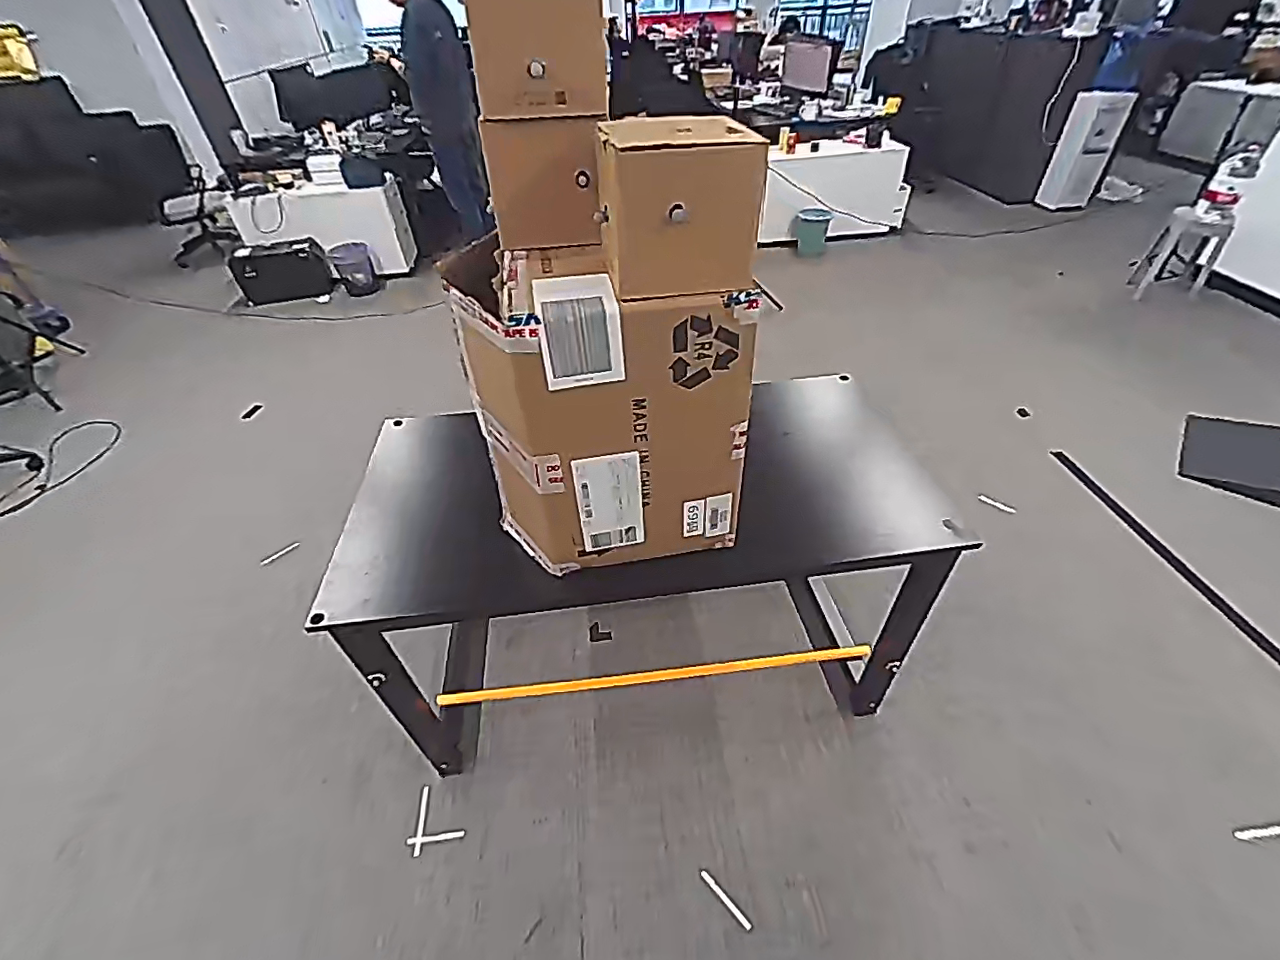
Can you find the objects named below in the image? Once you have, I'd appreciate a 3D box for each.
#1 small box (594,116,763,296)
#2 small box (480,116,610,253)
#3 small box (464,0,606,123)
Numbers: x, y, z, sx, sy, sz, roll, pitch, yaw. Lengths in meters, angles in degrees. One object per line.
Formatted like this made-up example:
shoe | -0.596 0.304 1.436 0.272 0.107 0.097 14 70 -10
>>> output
small box | 0.043 -0.351 0.698 0.179 0.176 0.168 -8 44 -6
small box | -0.138 -0.465 0.835 0.179 0.176 0.168 -8 39 -6
small box | -0.139 -0.589 0.726 0.168 0.176 0.179 -7 40 -7
